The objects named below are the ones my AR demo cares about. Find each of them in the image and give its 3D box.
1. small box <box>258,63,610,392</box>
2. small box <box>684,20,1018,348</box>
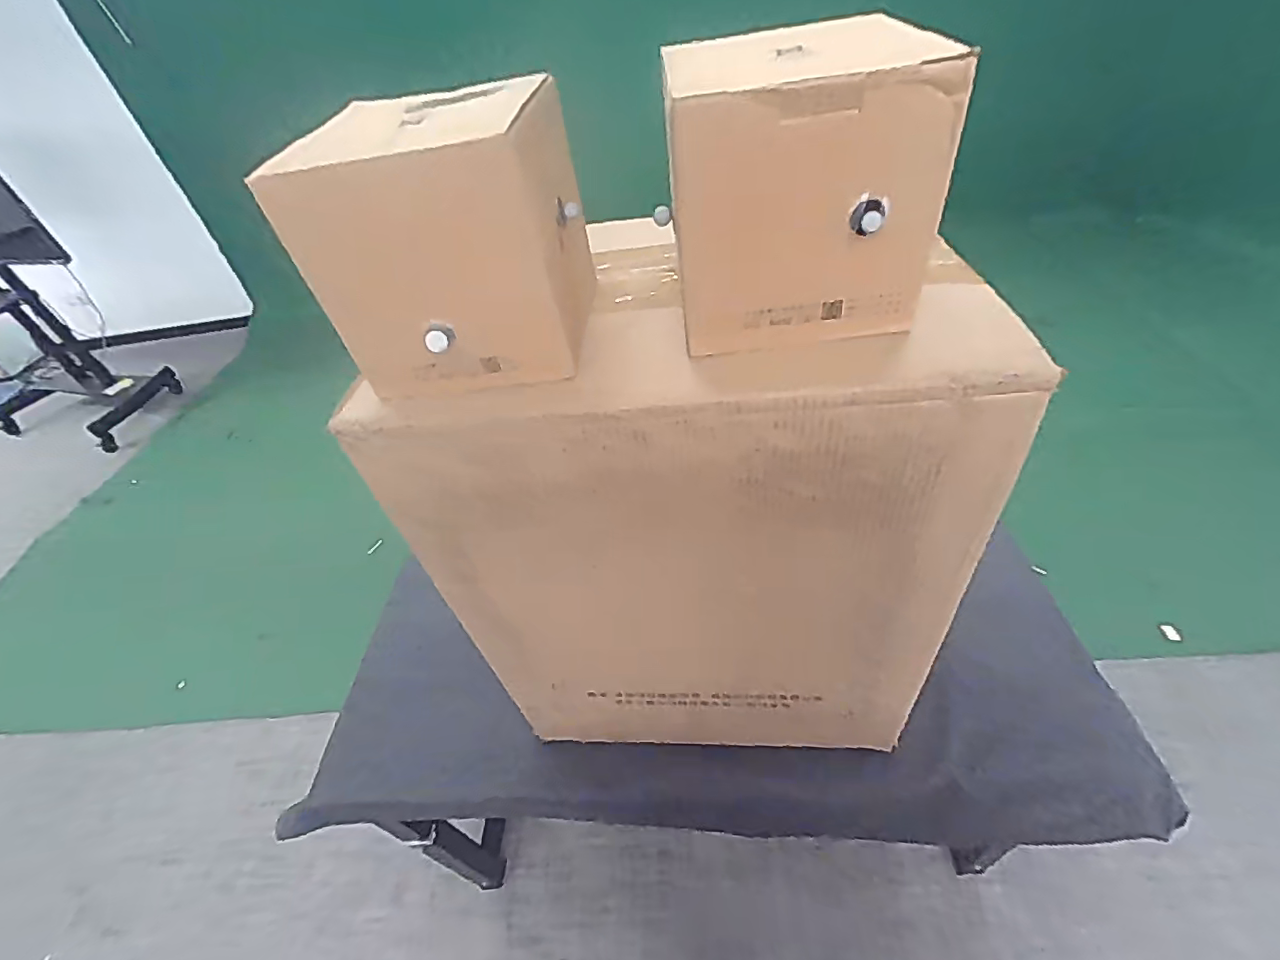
[{"bbox_3d":[-0.123,-0.187,0.411,0.168,0.176,0.179,-3,46,10],"label":"small box"},{"bbox_3d":[0.123,-0.210,0.398,0.168,0.176,0.179,-4,45,2],"label":"small box"}]
